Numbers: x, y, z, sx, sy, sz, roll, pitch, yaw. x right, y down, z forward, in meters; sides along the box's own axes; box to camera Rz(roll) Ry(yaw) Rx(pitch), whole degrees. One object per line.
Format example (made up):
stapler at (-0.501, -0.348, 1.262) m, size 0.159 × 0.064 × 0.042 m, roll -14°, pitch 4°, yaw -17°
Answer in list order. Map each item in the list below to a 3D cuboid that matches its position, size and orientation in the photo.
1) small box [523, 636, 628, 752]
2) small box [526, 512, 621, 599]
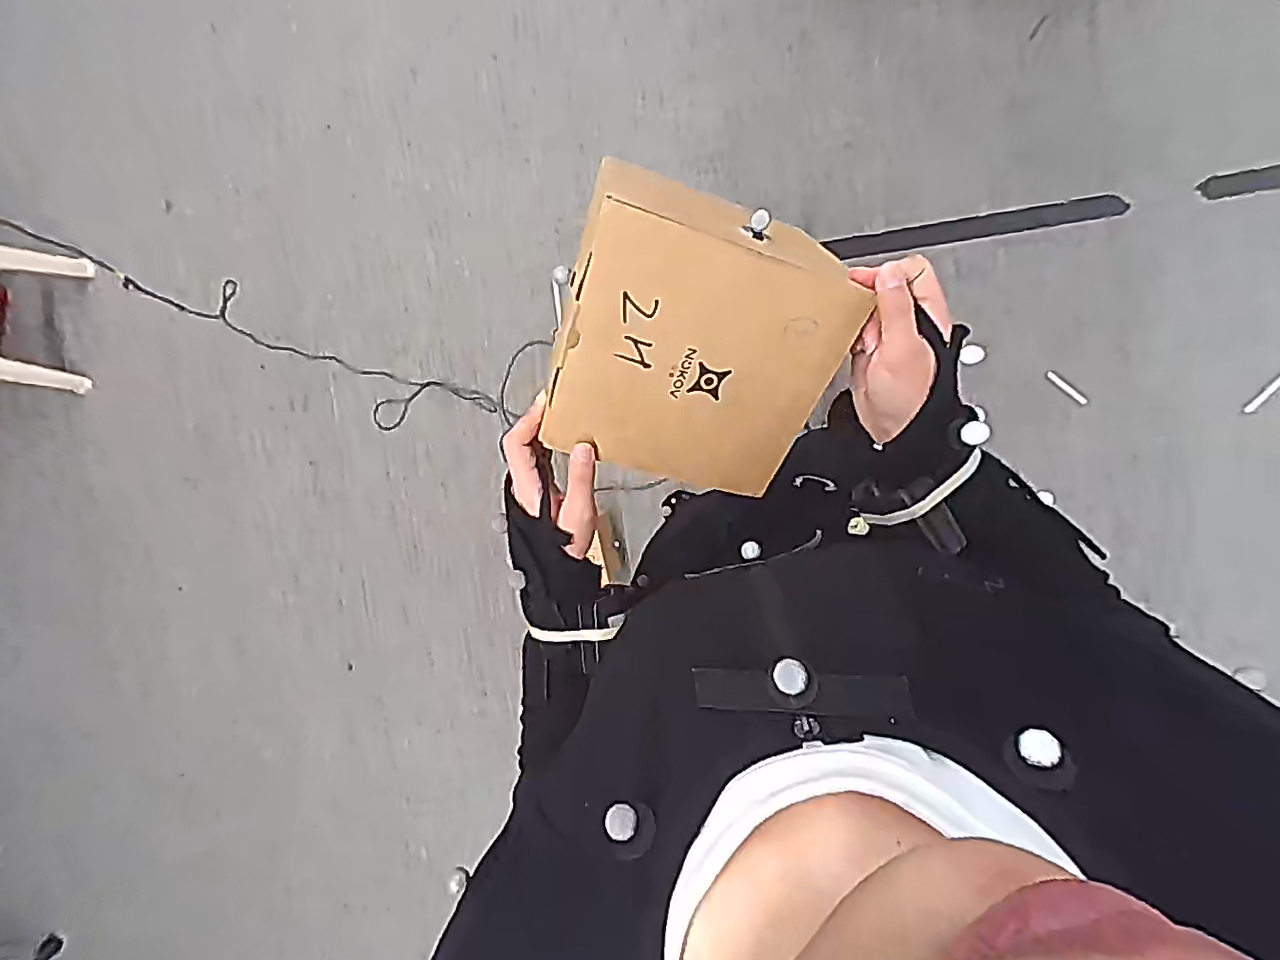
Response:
small box at (-0.134, 0.460, 1.190) m, size 0.168 × 0.176 × 0.179 m, roll -15°, pitch 93°, yaw 10°
small box at (-0.157, 0.181, 1.334) m, size 0.179 × 0.176 × 0.168 m, roll -12°, pitch 94°, yaw 9°
